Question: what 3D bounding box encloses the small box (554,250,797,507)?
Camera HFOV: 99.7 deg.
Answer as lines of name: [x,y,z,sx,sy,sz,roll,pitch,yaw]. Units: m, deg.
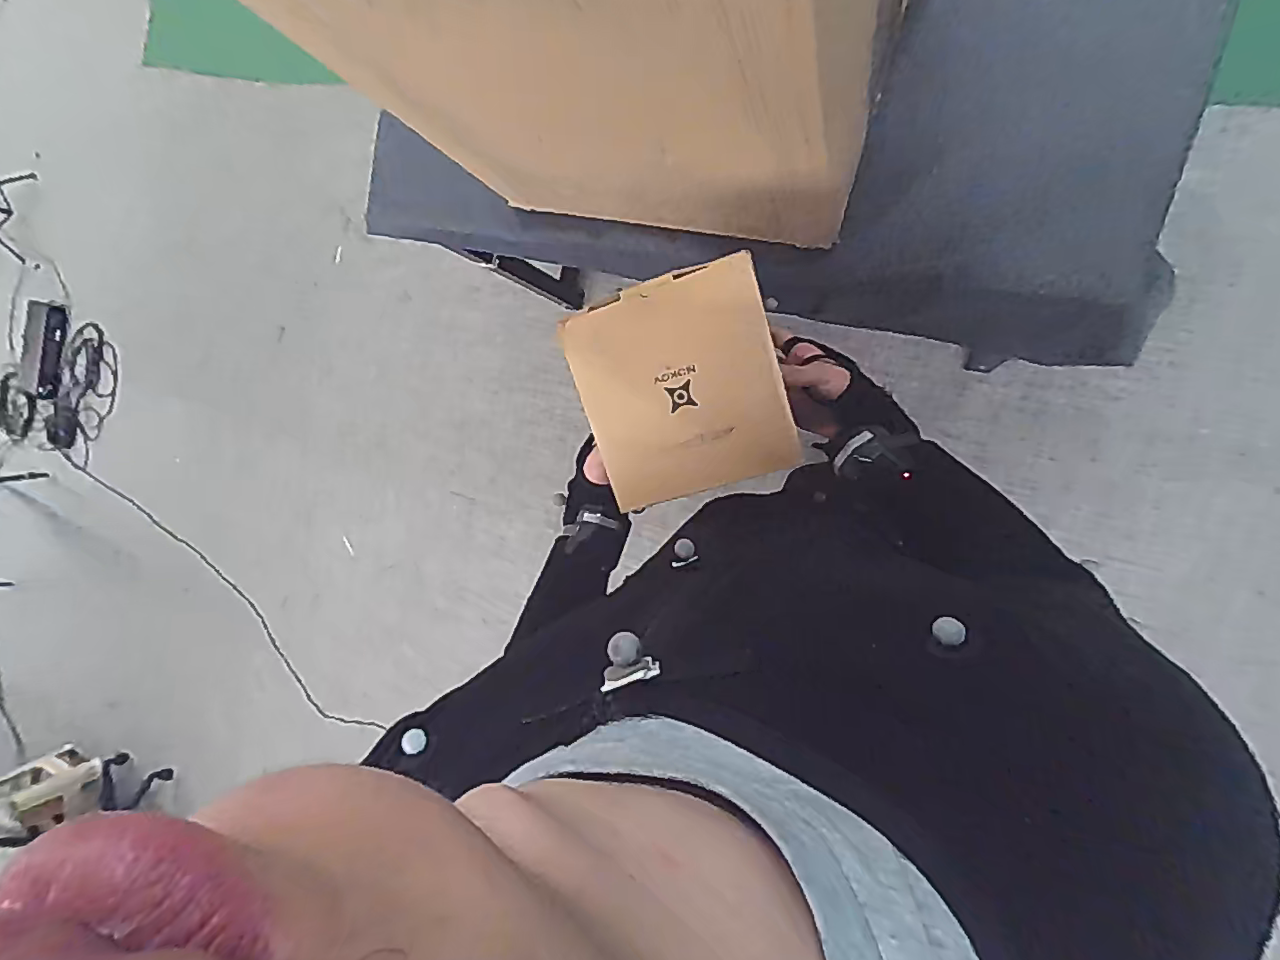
small box: [0.041,-0.096,0.520,0.168,0.176,0.179,-15,103,14]
